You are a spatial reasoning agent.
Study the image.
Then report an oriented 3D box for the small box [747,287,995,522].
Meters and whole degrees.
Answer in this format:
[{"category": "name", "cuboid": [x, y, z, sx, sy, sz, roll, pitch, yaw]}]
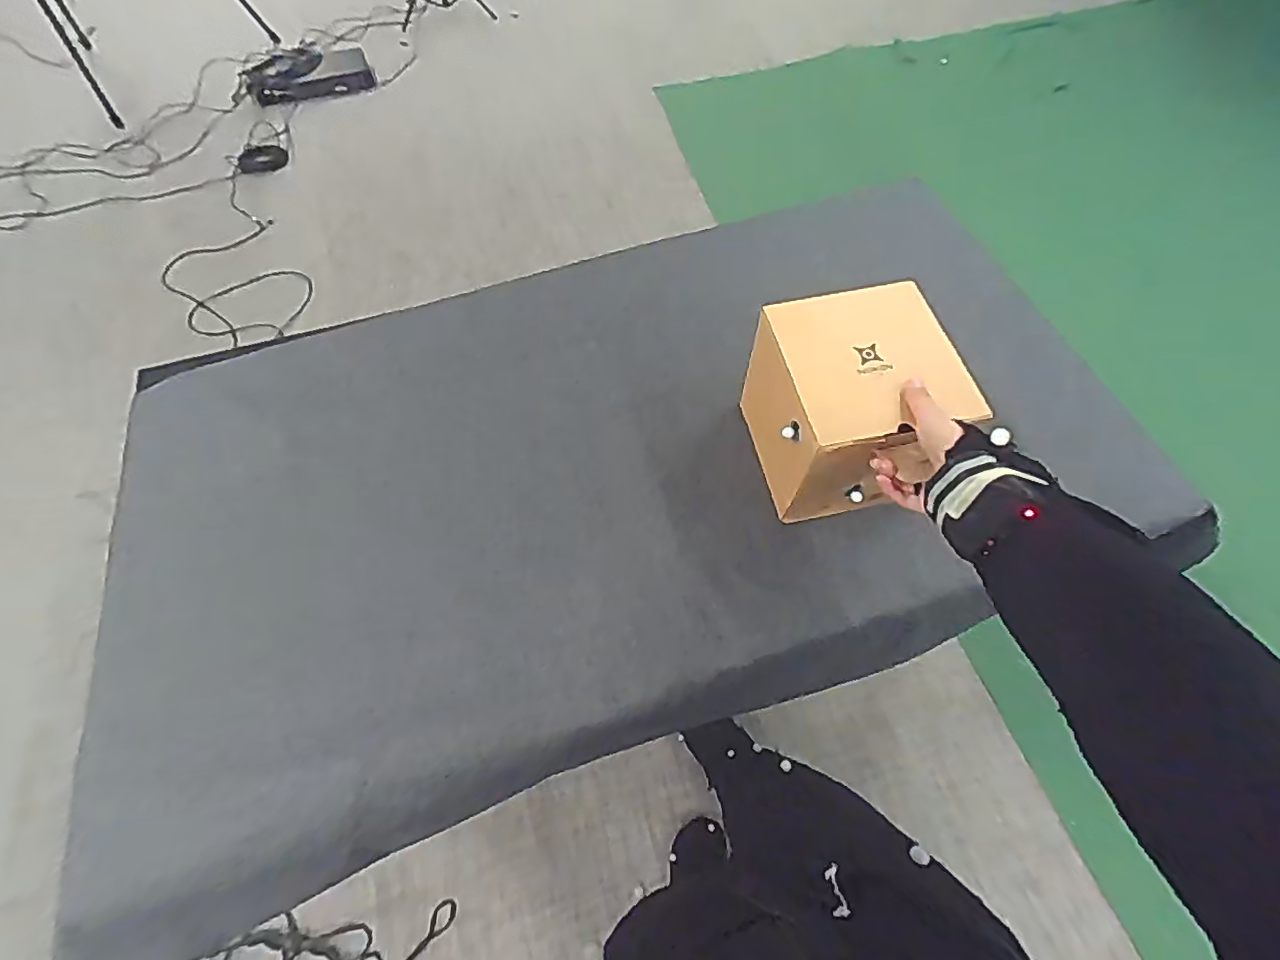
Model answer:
[{"category": "small box", "cuboid": [0.226, -0.076, 0.590, 0.168, 0.176, 0.179, -11, 63, -4]}]
